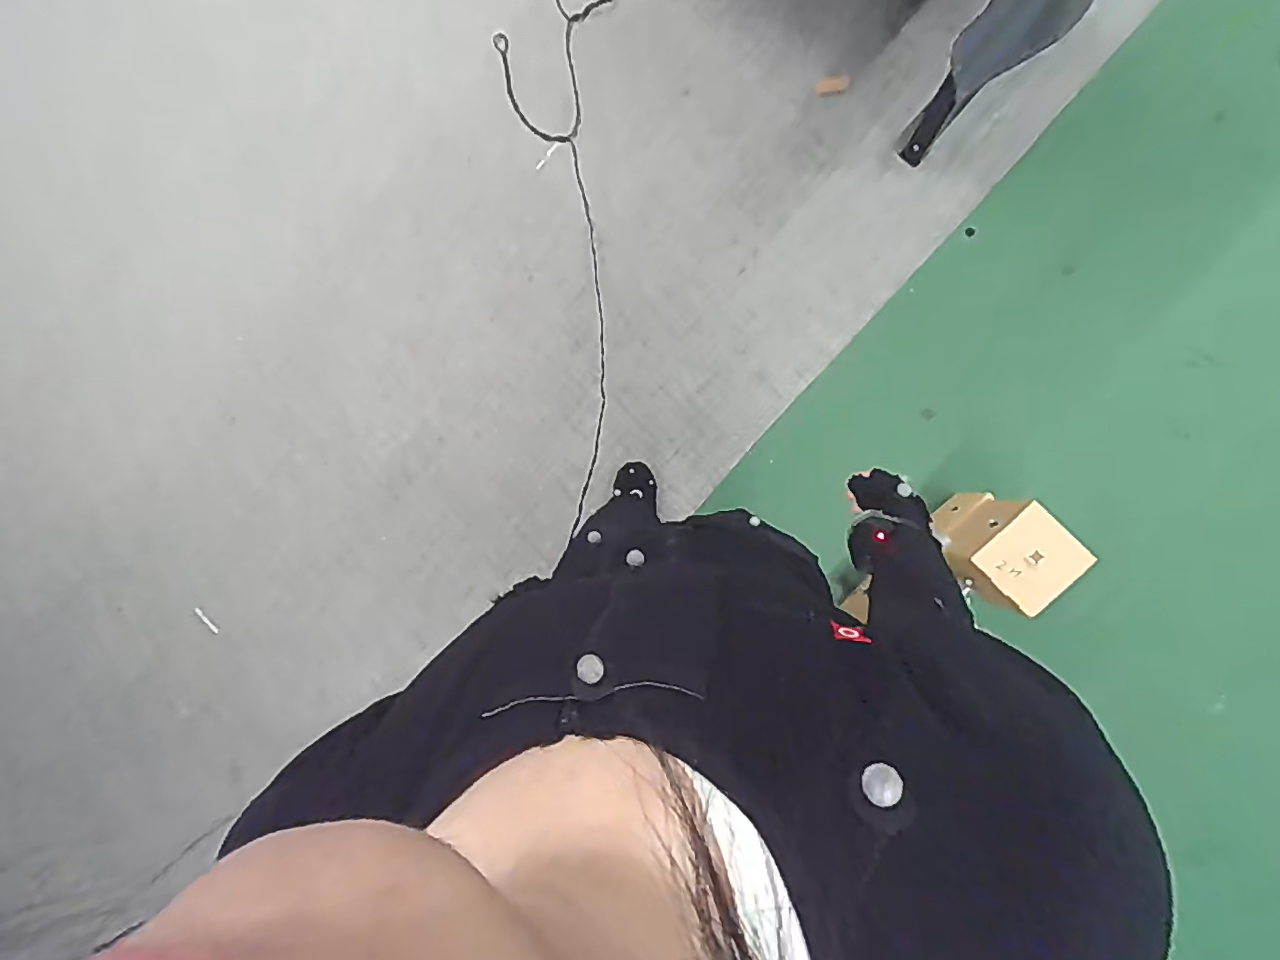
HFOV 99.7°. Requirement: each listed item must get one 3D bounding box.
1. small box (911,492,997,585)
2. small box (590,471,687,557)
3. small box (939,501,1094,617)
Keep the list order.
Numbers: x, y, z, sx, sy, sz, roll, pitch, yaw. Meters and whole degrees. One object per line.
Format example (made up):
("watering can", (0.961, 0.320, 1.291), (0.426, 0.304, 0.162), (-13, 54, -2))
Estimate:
("small box", (0.803, 0.148, 1.314), (0.168, 0.176, 0.179), (-43, 85, 4))
("small box", (-0.010, 0.088, 1.429), (0.179, 0.176, 0.168), (35, 103, 25))
("small box", (0.784, 0.158, 1.149), (0.179, 0.176, 0.168), (-44, 85, 4))
